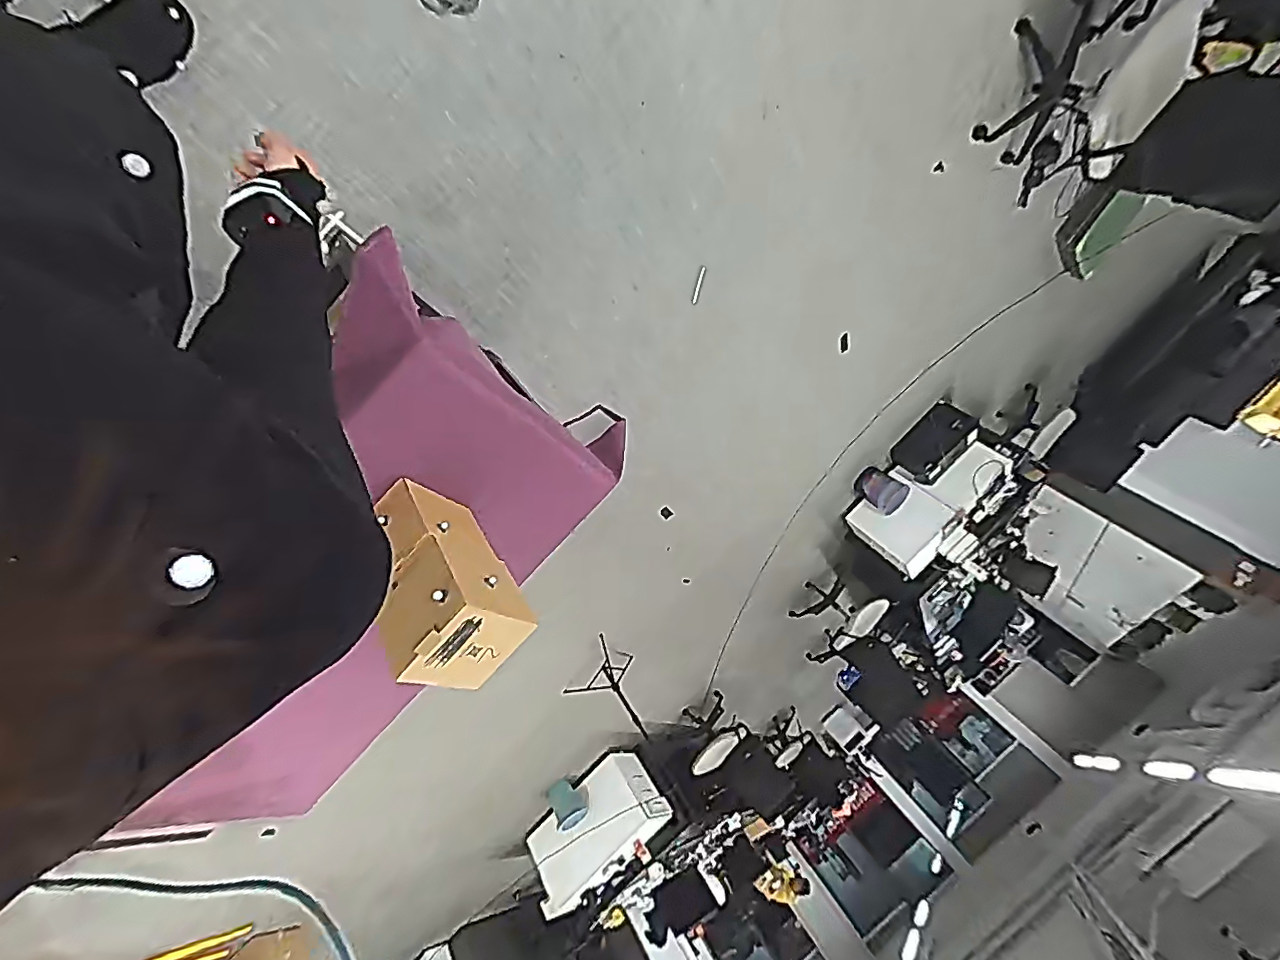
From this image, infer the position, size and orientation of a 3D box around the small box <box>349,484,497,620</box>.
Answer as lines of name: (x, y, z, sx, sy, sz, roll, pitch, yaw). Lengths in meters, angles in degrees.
small box: (-0.411, 0.135, 1.022, 0.168, 0.176, 0.179, -46, 141, 4)
